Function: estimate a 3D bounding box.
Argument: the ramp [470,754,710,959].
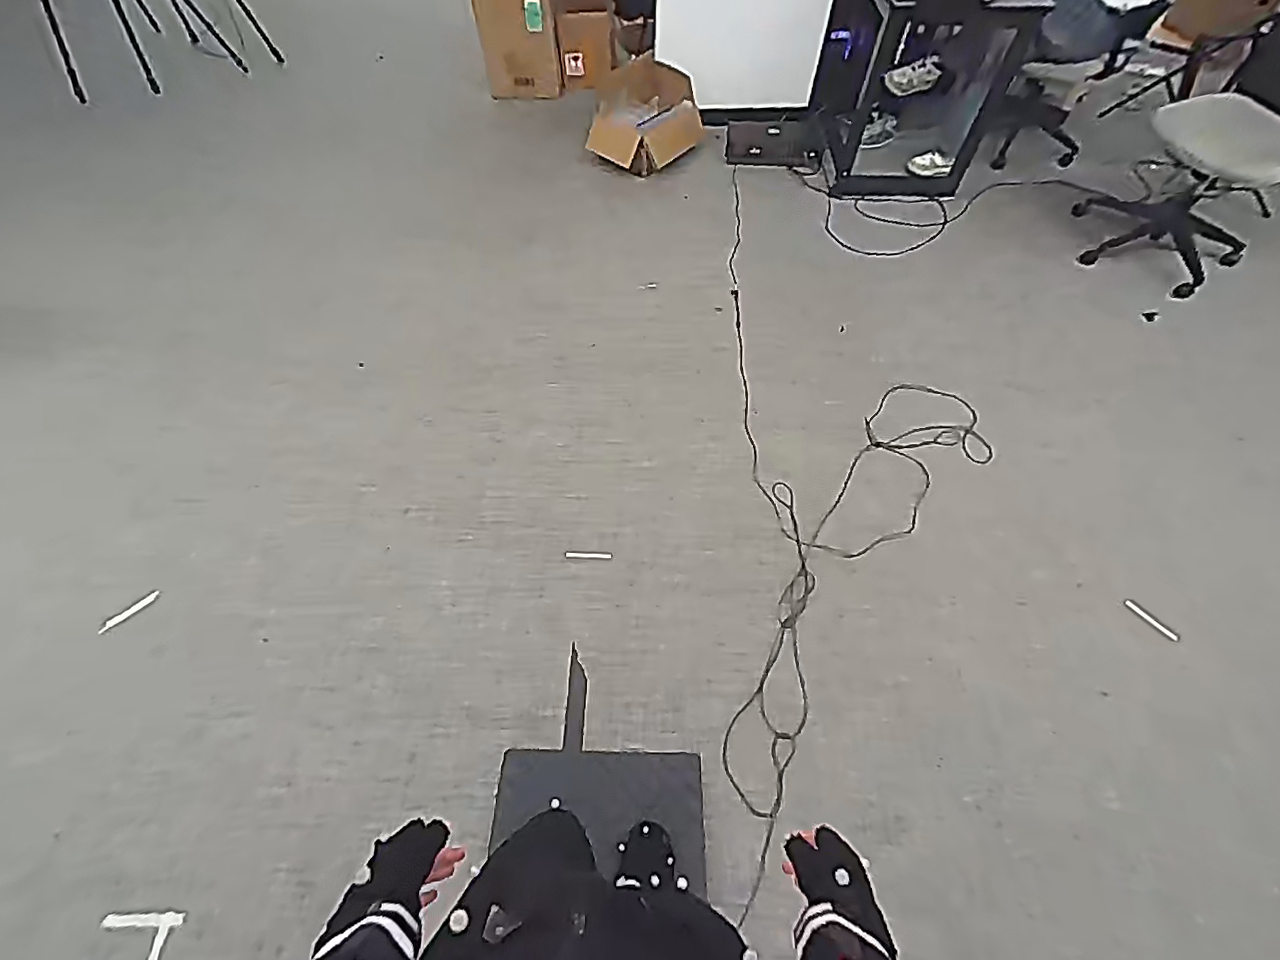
[{"bbox_3d":[-0.105,1.062,1.025,0.509,0.206,0.991,-1,58,1],"label":"ramp"}]
